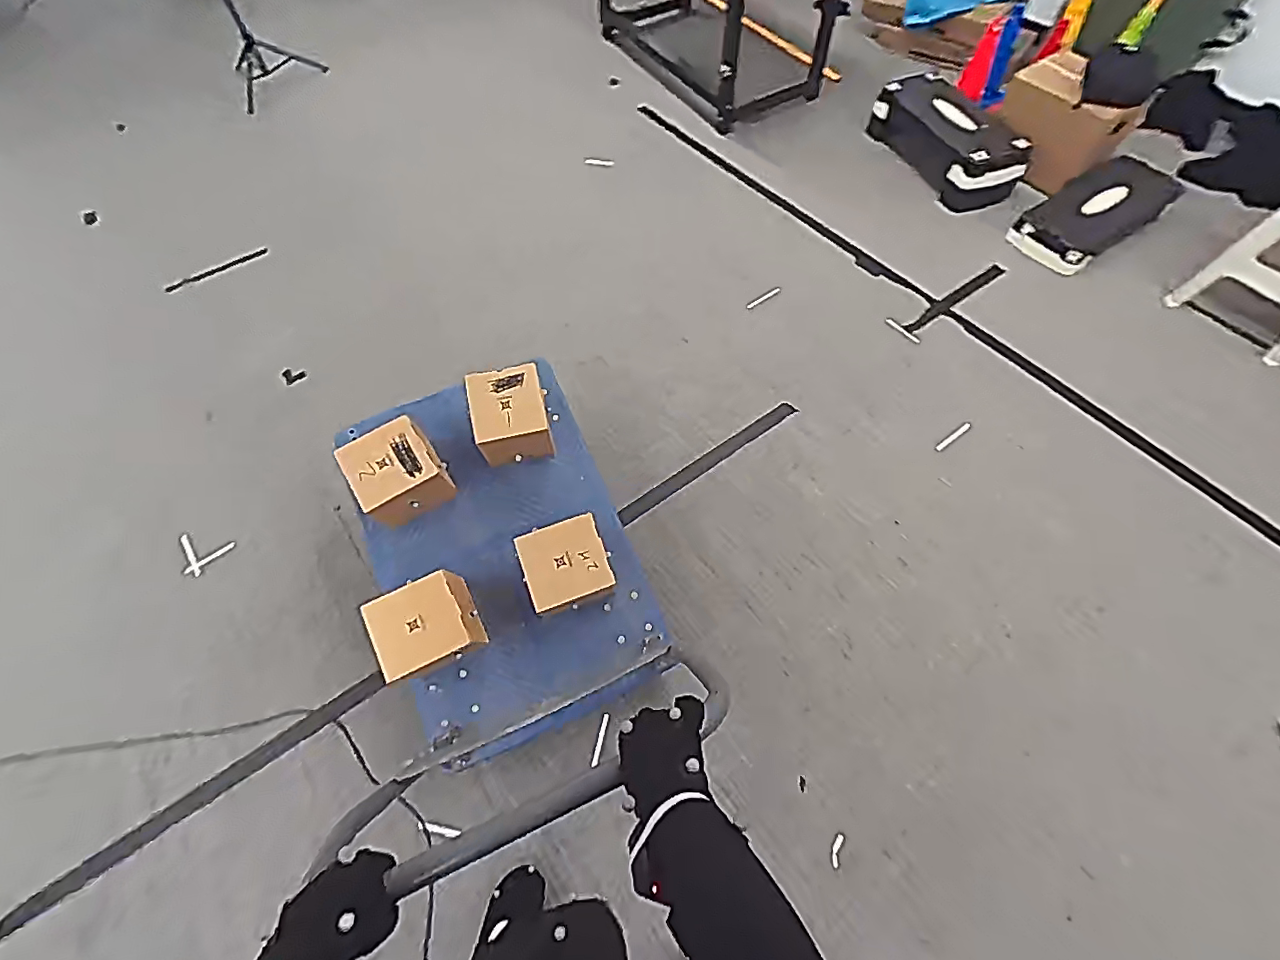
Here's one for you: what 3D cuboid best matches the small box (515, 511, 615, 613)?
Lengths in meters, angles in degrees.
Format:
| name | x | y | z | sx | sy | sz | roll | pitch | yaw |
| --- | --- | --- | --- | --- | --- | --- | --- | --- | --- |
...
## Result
| name | x | y | z | sx | sy | sz | roll | pitch | yaw |
| --- | --- | --- | --- | --- | --- | --- | --- | --- | --- |
| small box | -0.160 | 0.189 | 1.202 | 0.179 | 0.176 | 0.168 | -18 | 75 | -9 |

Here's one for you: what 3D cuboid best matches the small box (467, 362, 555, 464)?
| name | x | y | z | sx | sy | sz | roll | pitch | yaw |
| --- | --- | --- | --- | --- | --- | --- | --- | --- | --- |
| small box | -0.306 | -0.157 | 1.305 | 0.168 | 0.176 | 0.179 | -12 | 75 | -7 |

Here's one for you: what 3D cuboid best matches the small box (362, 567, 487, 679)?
| name | x | y | z | sx | sy | sz | roll | pitch | yaw |
| --- | --- | --- | --- | --- | --- | --- | --- | --- | --- |
| small box | -0.449 | 0.308 | 1.149 | 0.179 | 0.176 | 0.168 | -25 | 75 | -12 |
